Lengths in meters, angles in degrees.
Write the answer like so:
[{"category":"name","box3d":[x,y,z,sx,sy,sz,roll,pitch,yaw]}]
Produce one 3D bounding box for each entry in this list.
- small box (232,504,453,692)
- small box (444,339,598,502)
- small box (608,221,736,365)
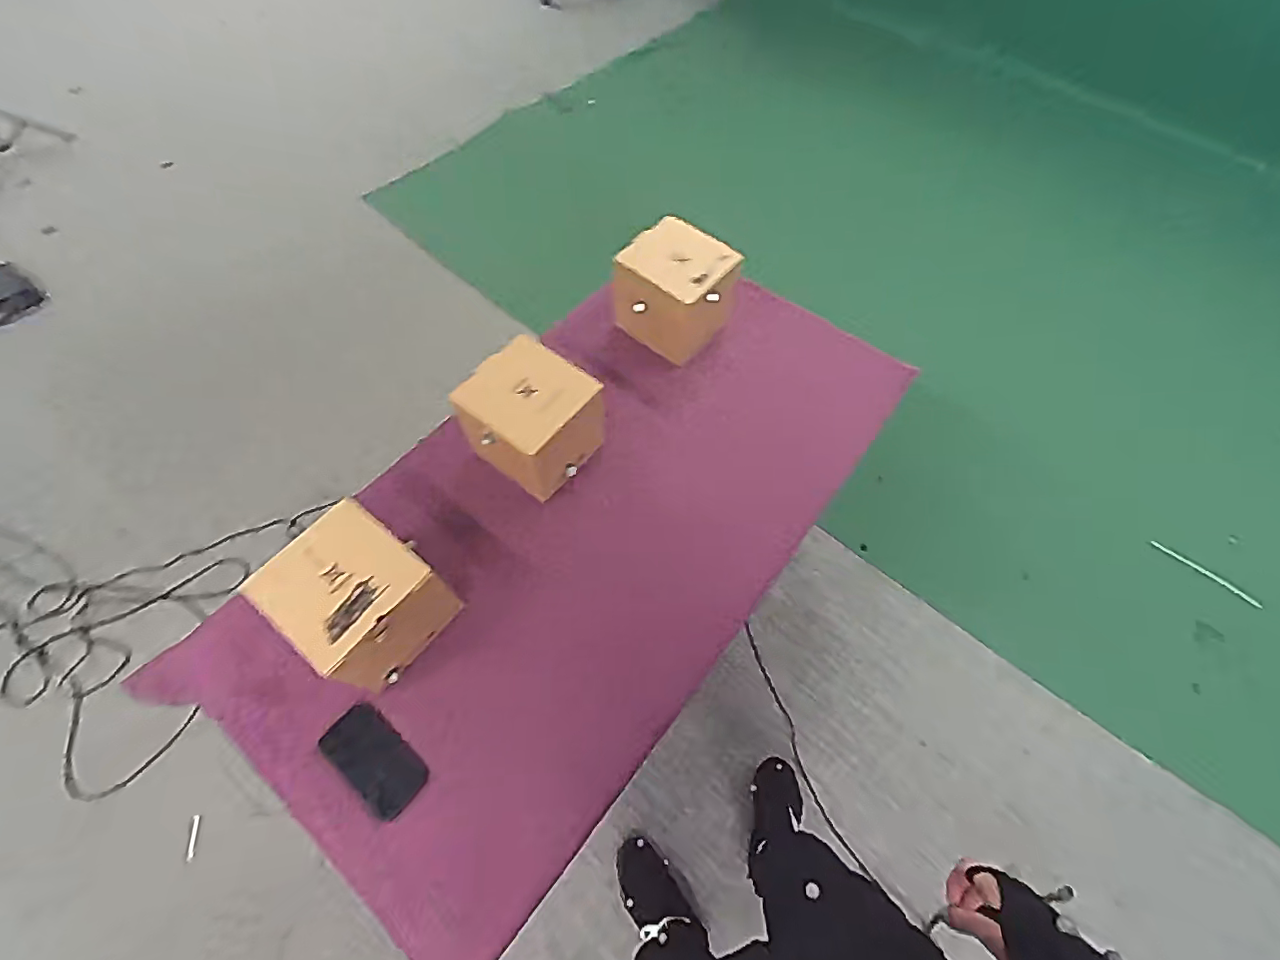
[{"category":"small box","box3d":[-0.391,0.170,0.746,0.179,0.176,0.168,35,65,17]},{"category":"small box","box3d":[-0.186,-0.092,0.898,0.179,0.176,0.168,35,67,16]},{"category":"small box","box3d":[0.057,-0.356,1.048,0.179,0.176,0.168,36,67,17]}]
